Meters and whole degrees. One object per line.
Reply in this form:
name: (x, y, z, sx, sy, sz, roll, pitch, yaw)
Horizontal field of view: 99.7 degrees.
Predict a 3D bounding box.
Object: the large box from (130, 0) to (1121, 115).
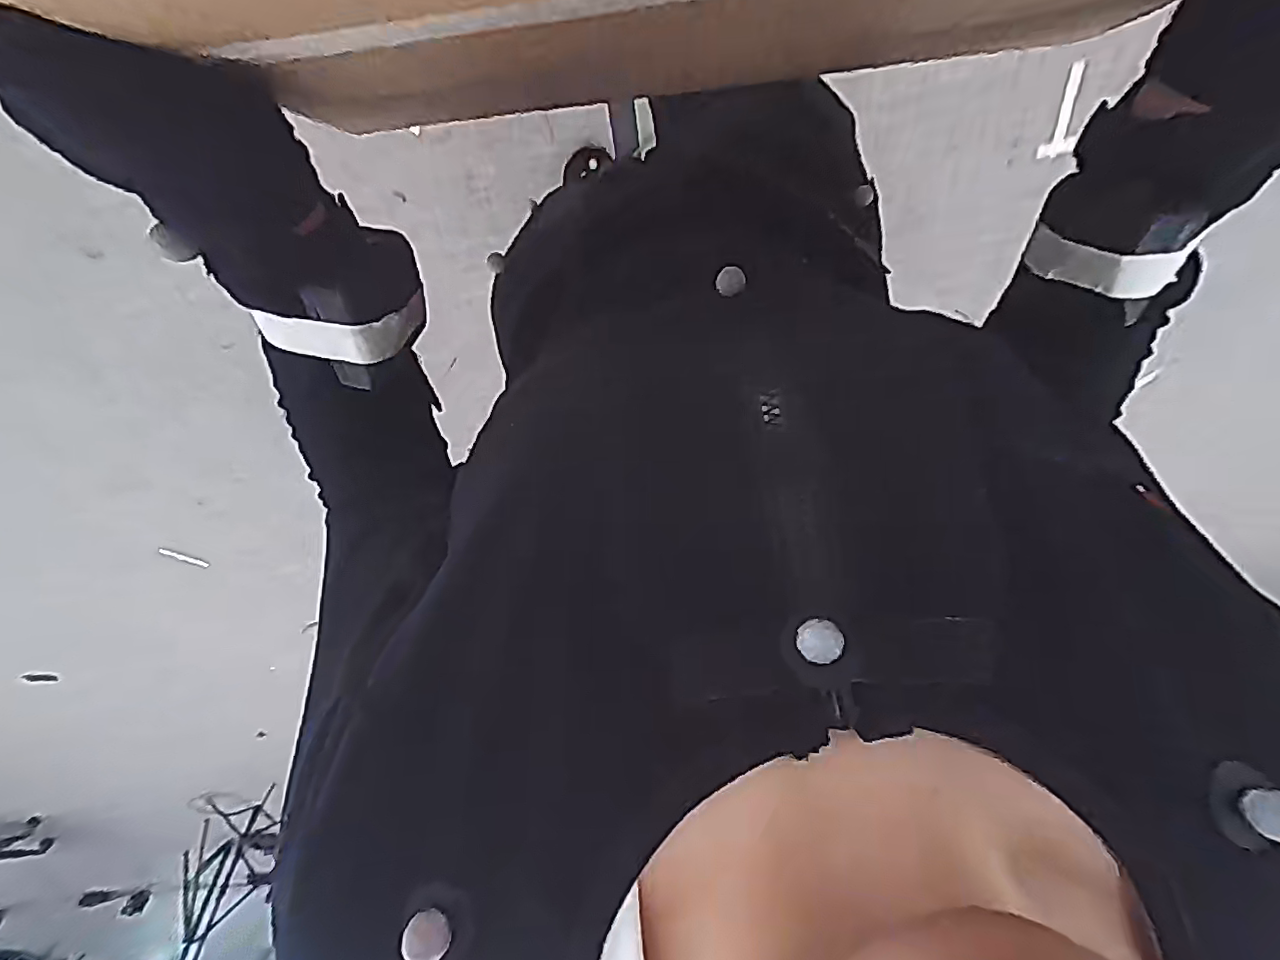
large box: (0.024, -0.308, 0.105, 0.408, 0.320, 0.320, -7, 115, 1)
